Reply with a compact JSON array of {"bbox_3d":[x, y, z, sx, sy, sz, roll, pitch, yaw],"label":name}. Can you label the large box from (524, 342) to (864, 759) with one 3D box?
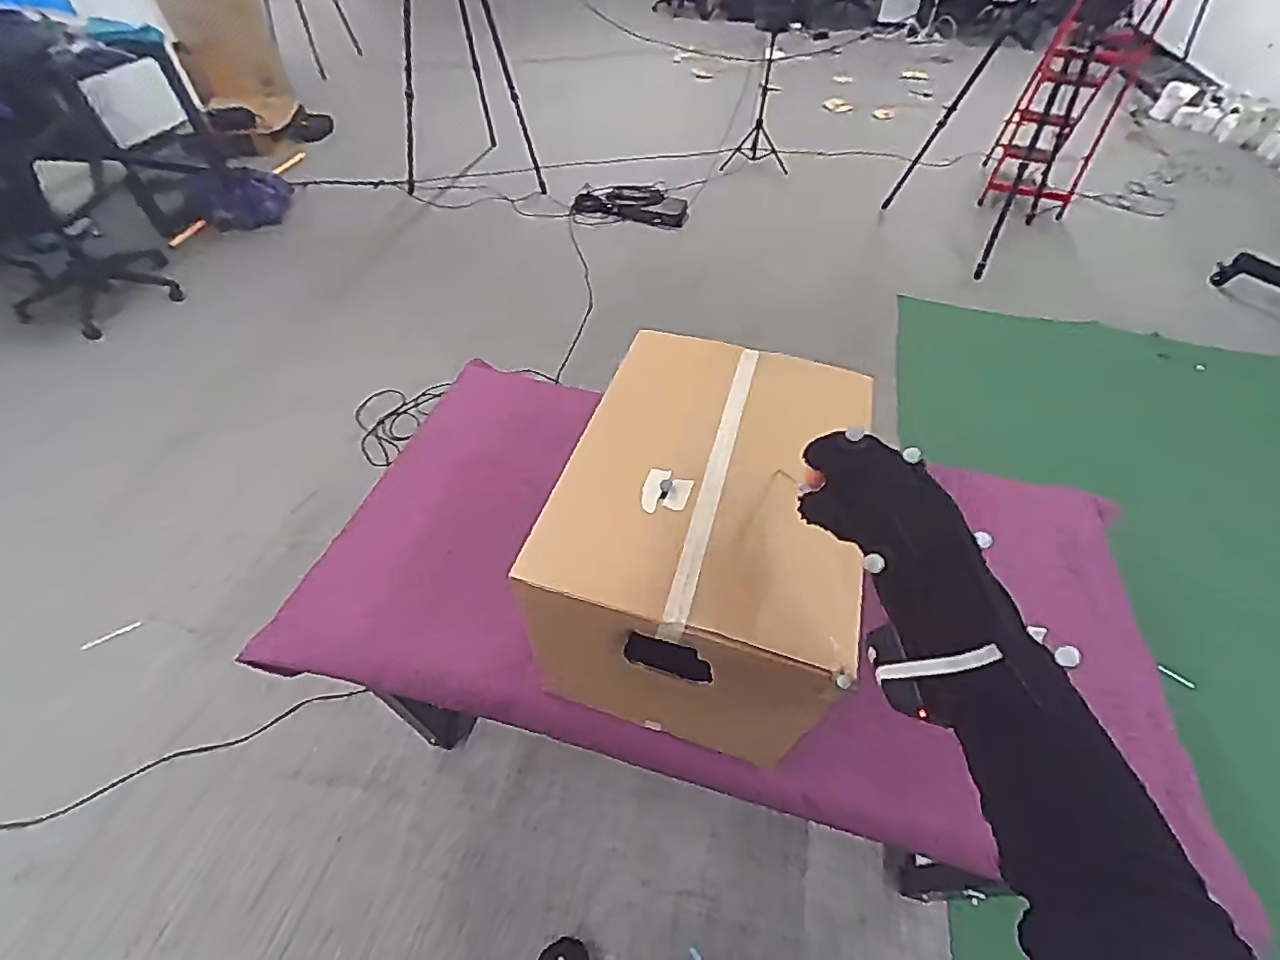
[{"bbox_3d":[0.083,0.085,0.722,0.320,0.320,0.408,15,52,10],"label":"large box"}]
